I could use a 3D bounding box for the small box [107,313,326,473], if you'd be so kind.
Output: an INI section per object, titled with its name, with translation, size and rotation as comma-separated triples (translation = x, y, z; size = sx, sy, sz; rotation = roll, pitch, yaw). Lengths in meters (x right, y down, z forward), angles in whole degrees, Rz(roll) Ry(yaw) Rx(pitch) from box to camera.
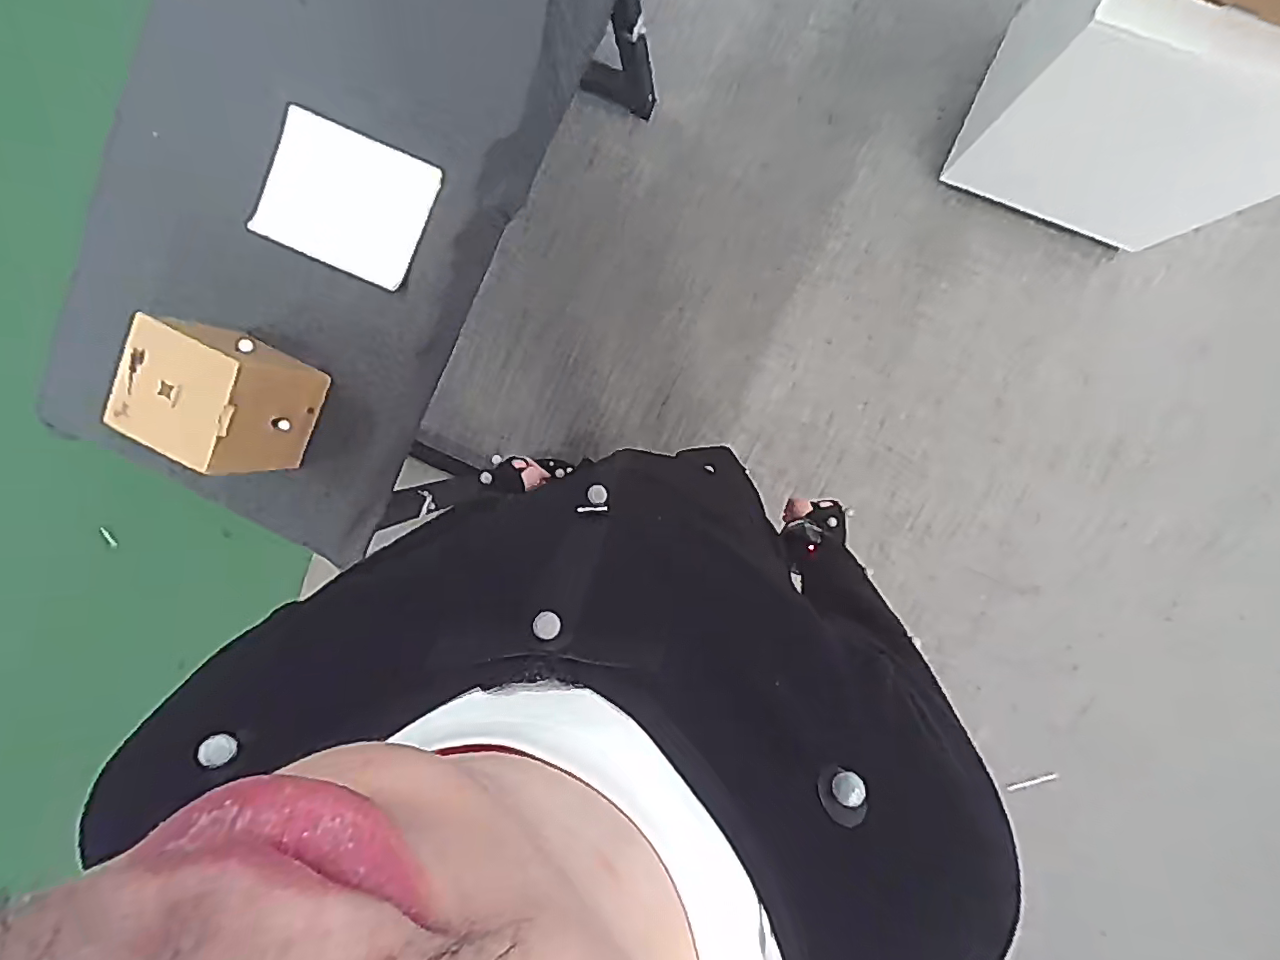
[small box]
translation = -0.618, -0.127, 0.810
size = 0.179, 0.176, 0.168
rotation = 25, 98, 4
